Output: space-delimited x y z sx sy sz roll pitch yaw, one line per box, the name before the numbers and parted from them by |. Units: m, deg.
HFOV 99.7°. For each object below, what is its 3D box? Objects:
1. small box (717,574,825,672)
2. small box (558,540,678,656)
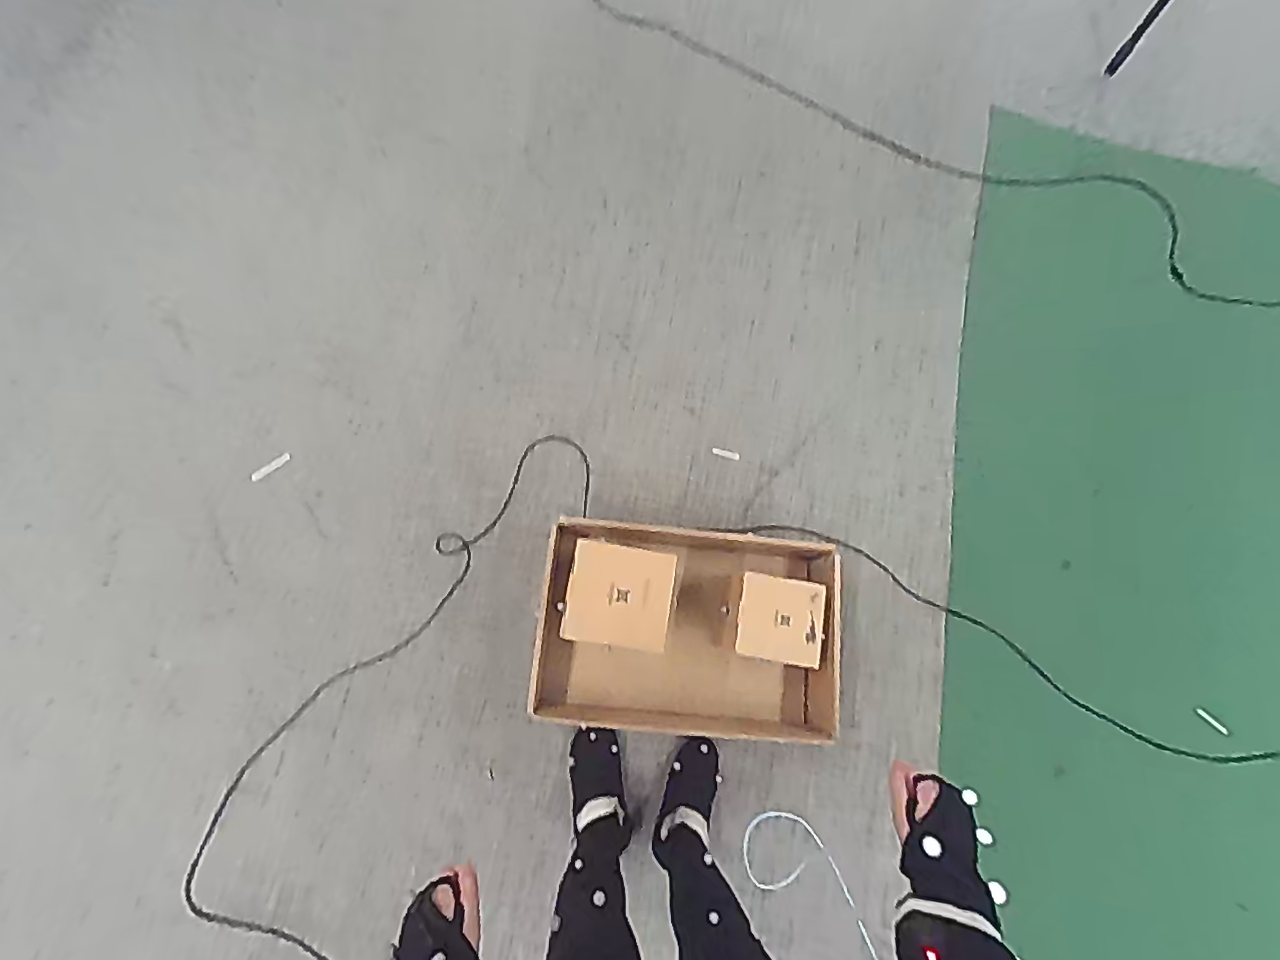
small box | 0.271 0.303 1.152 0.179 0.176 0.168 12 76 -2
small box | -0.043 0.213 0.974 0.179 0.176 0.168 11 77 -4
